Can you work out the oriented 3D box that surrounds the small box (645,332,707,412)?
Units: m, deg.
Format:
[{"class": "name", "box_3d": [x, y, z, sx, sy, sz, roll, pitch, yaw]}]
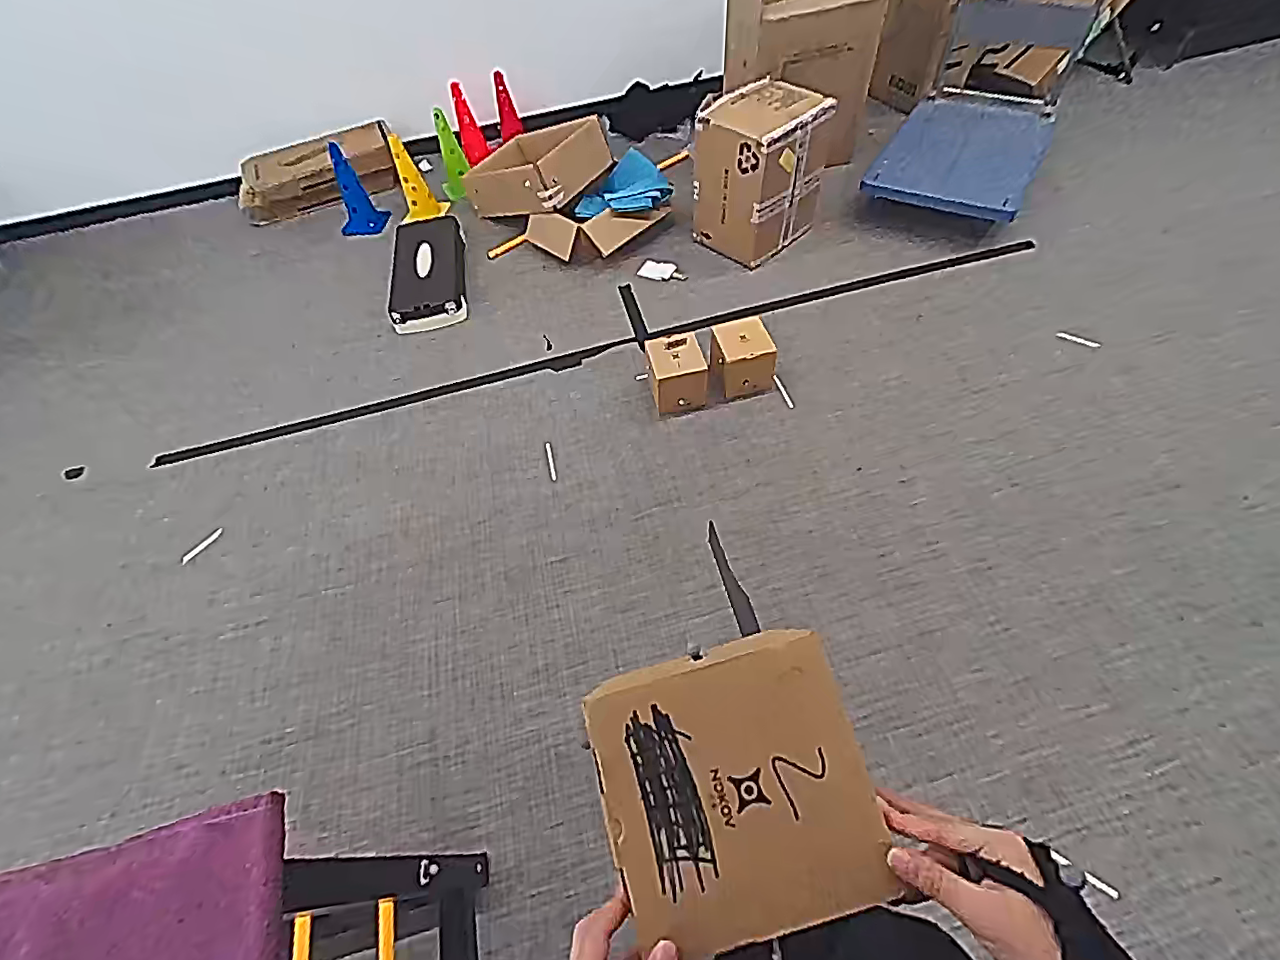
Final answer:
[{"class": "small box", "box_3d": [0.114, -0.350, 1.768, 0.168, 0.176, 0.179, -12, 56, -3]}]

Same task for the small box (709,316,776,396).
[{"class": "small box", "box_3d": [0.332, -0.409, 1.792, 0.168, 0.176, 0.179, -14, 56, -5]}]
